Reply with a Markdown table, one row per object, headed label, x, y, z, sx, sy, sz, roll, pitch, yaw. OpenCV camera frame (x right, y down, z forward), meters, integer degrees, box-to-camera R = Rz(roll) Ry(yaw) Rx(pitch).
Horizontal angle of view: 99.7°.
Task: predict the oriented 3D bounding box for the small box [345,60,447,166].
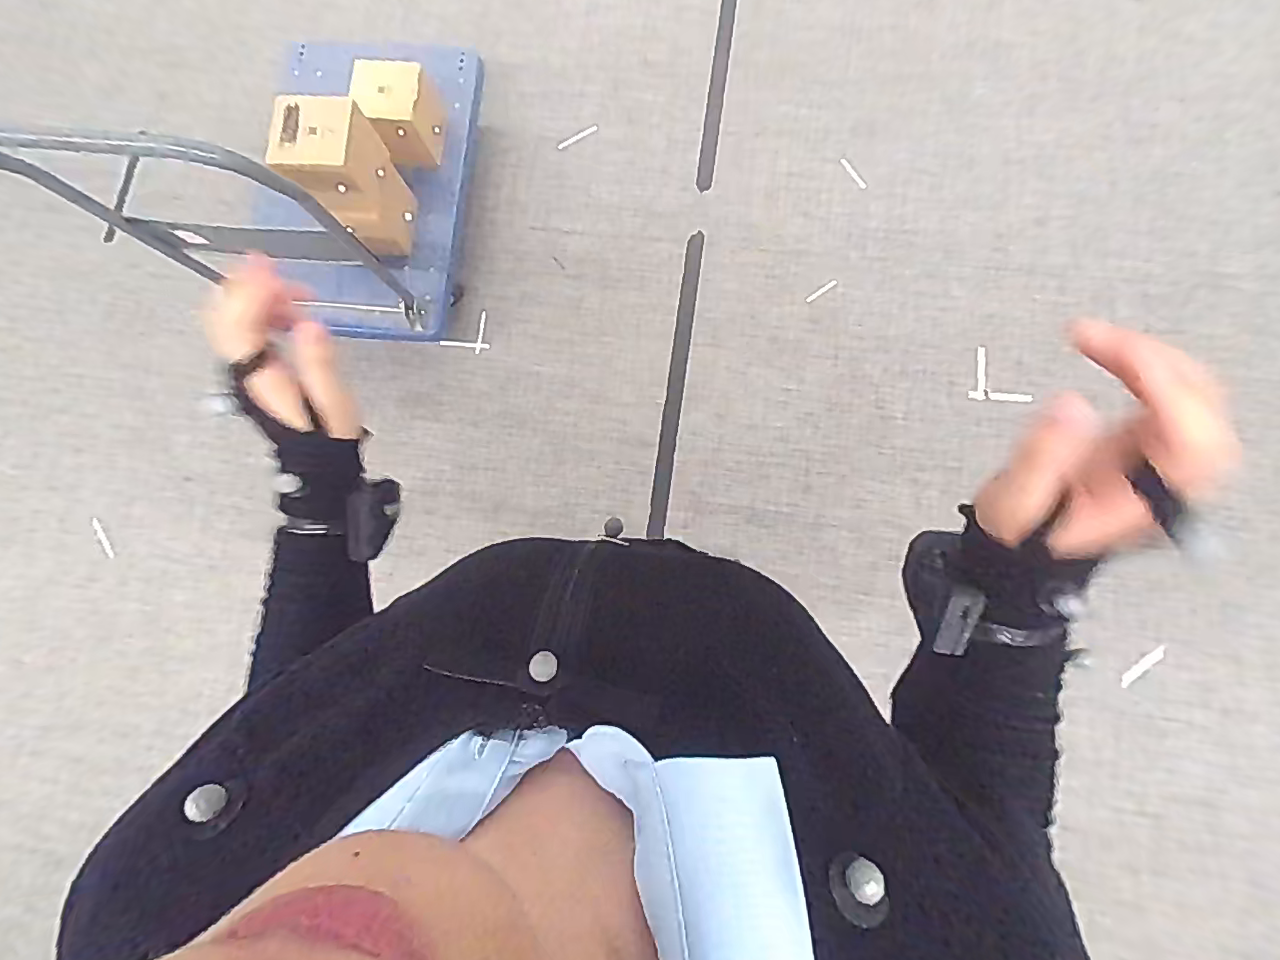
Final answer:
| label | x | y | z | sx | sy | sz | roll | pitch | yaw |
| --- | --- | --- | --- | --- | --- | --- | --- | --- | --- |
| small box | -0.640 | -0.967 | 1.435 | 0.179 | 0.176 | 0.168 | 5 | 82 | 3 |

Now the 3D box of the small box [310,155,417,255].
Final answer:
| label | x | y | z | sx | sy | sz | roll | pitch | yaw |
| --- | --- | --- | --- | --- | --- | --- | --- | --- | --- |
| small box | -0.707 | -0.705 | 1.399 | 0.179 | 0.176 | 0.168 | 4 | 83 | 2 |
